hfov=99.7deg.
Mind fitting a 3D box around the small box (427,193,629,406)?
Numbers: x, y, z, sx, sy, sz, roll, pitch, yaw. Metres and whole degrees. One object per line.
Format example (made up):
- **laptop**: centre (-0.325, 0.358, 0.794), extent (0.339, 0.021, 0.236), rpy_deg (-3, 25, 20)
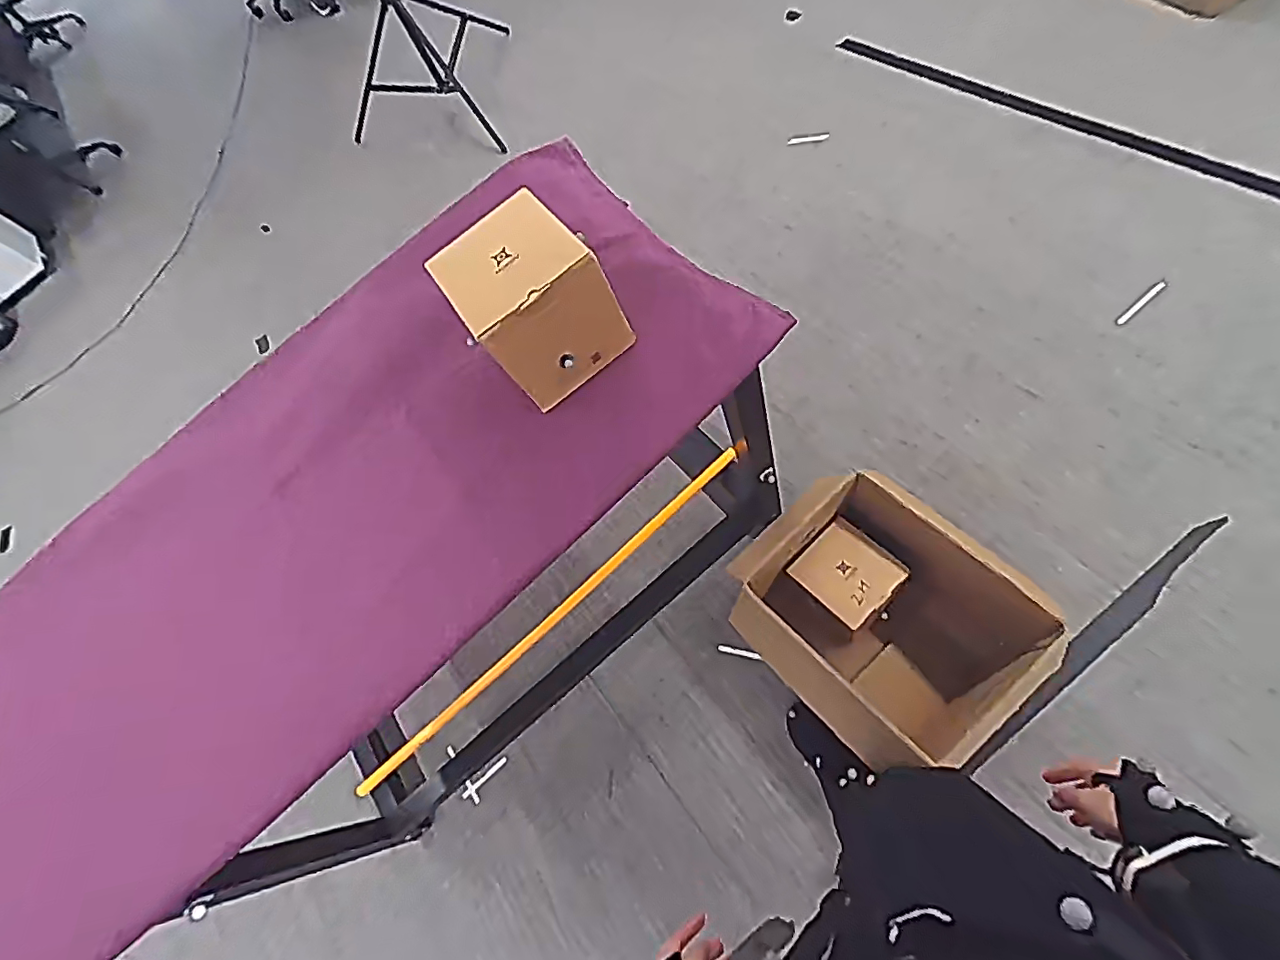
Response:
- **small box**: centre (-0.142, -0.232, 0.723), extent (0.168, 0.176, 0.179), rpy_deg (-39, 61, -1)
